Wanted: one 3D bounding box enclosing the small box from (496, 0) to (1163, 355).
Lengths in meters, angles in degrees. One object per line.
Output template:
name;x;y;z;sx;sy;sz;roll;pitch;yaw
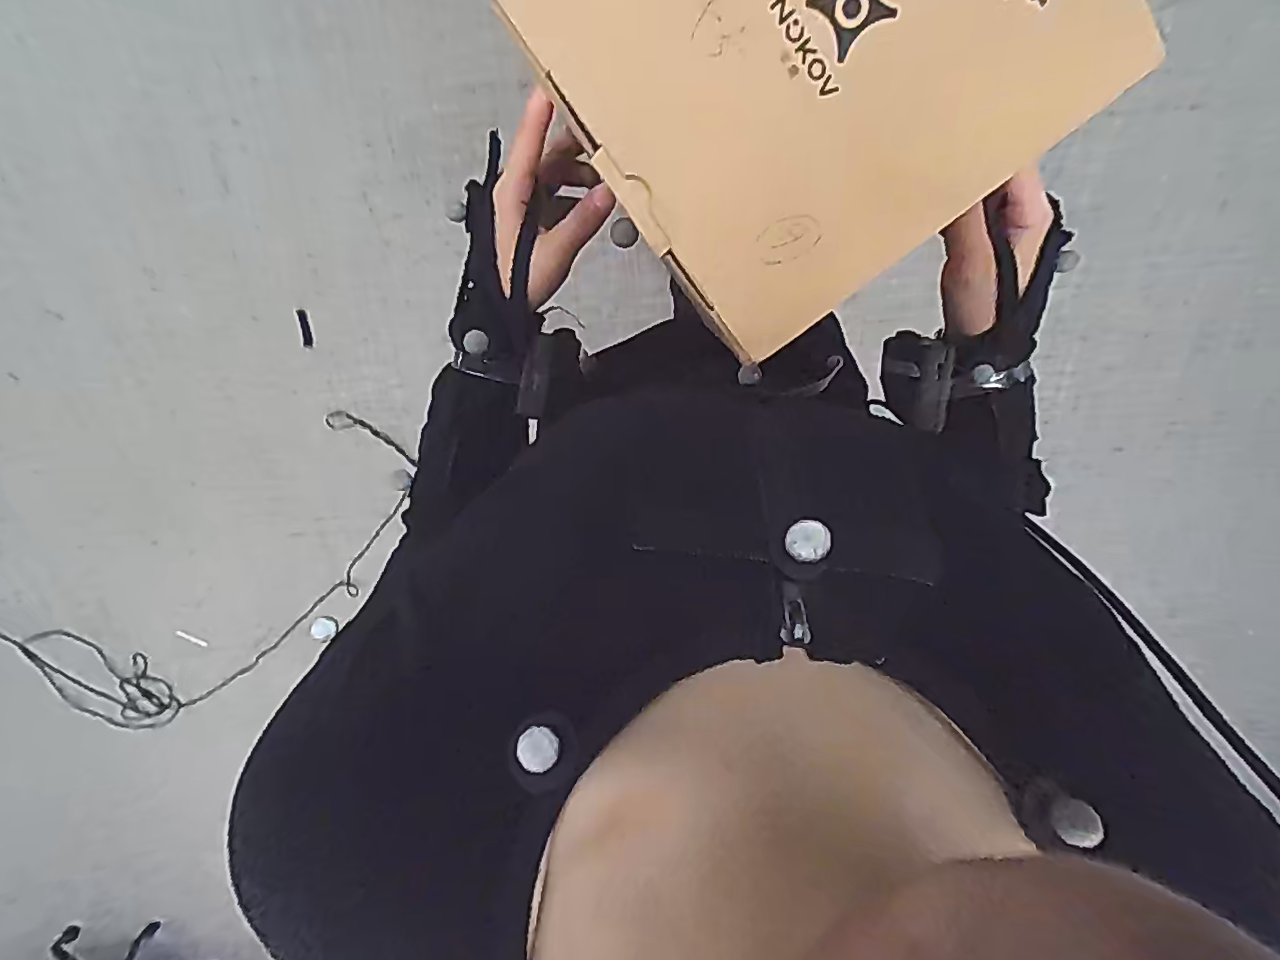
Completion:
small box;0.069;-0.186;0.263;0.179;0.176;0.168;-35;105;15
